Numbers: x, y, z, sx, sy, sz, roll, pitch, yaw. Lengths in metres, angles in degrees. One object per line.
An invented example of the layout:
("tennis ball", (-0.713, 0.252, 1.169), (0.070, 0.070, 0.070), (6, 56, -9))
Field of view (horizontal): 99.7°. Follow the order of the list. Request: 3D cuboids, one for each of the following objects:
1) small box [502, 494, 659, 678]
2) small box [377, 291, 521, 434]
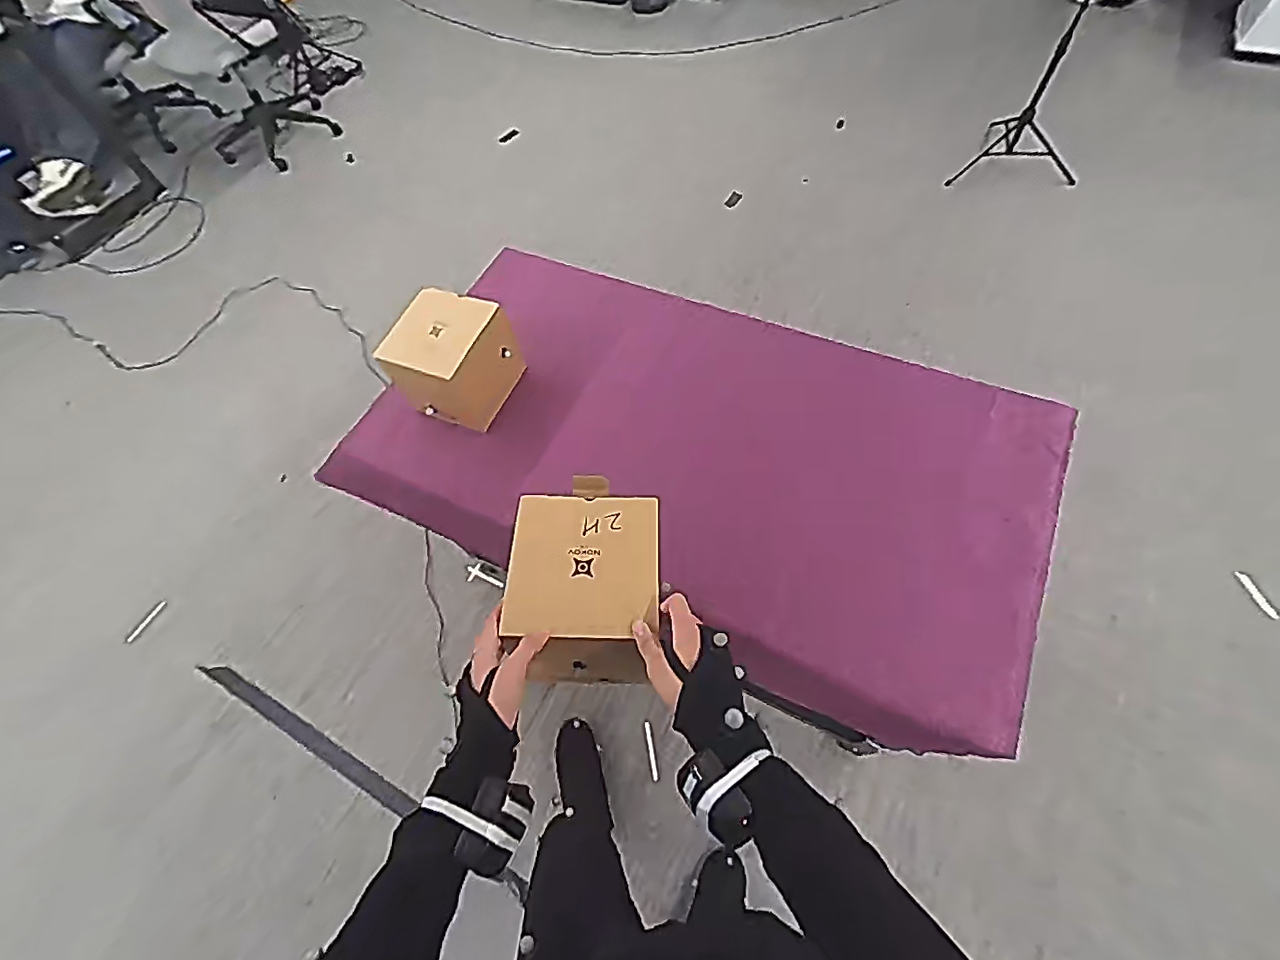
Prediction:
("small box", (-0.061, 0.136, 0.672), (0.168, 0.176, 0.179), (2, 53, 0))
("small box", (-0.343, -0.218, 1.017), (0.168, 0.176, 0.179), (19, 65, 15))
